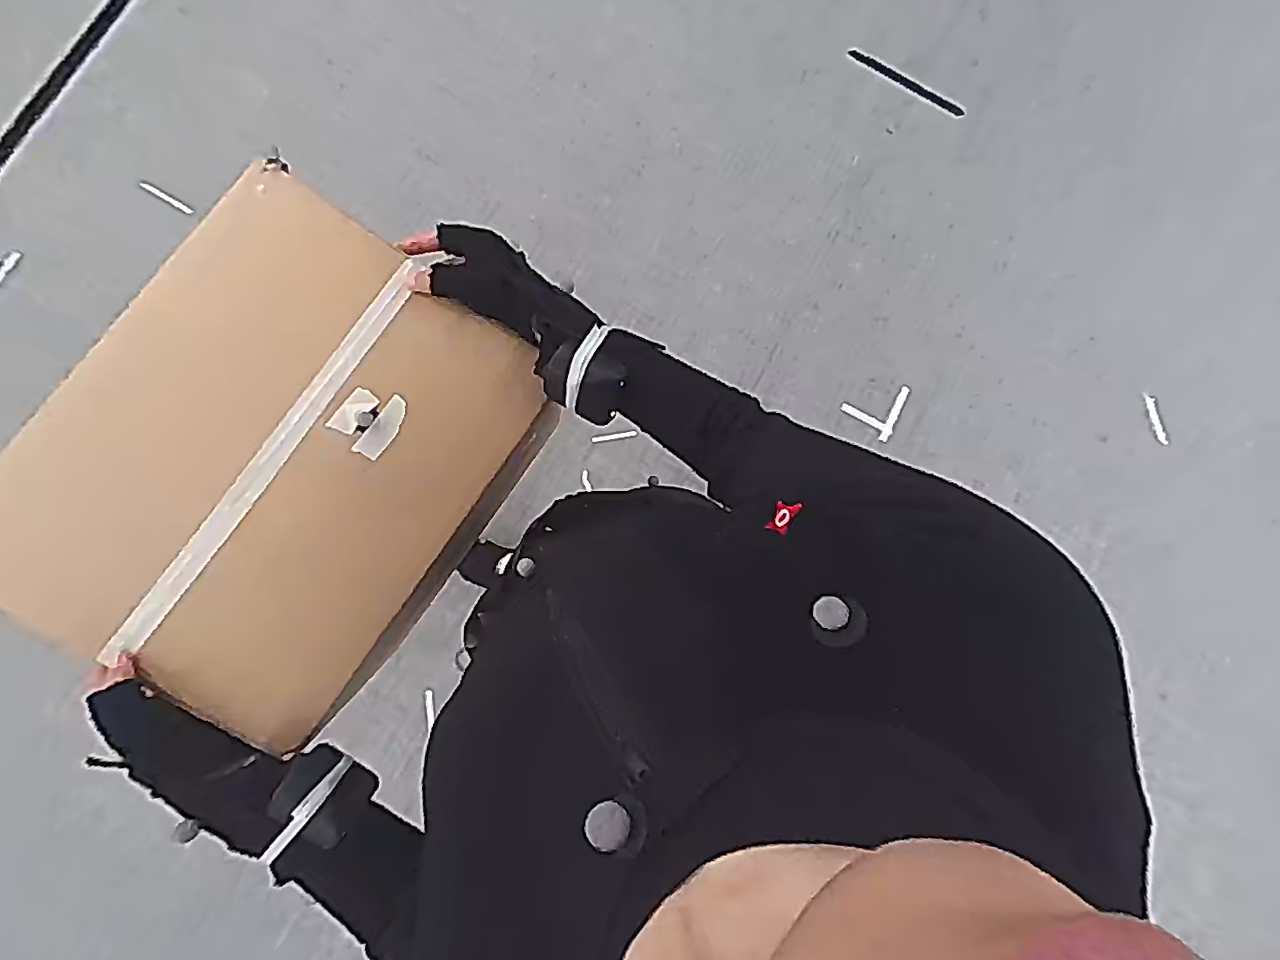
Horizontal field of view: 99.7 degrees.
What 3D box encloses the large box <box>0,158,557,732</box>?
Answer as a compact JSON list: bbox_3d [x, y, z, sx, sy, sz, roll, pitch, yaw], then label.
[{"bbox_3d":[-0.333,-0.025,0.605,0.320,0.320,0.408,35,82,-9],"label":"large box"}]
